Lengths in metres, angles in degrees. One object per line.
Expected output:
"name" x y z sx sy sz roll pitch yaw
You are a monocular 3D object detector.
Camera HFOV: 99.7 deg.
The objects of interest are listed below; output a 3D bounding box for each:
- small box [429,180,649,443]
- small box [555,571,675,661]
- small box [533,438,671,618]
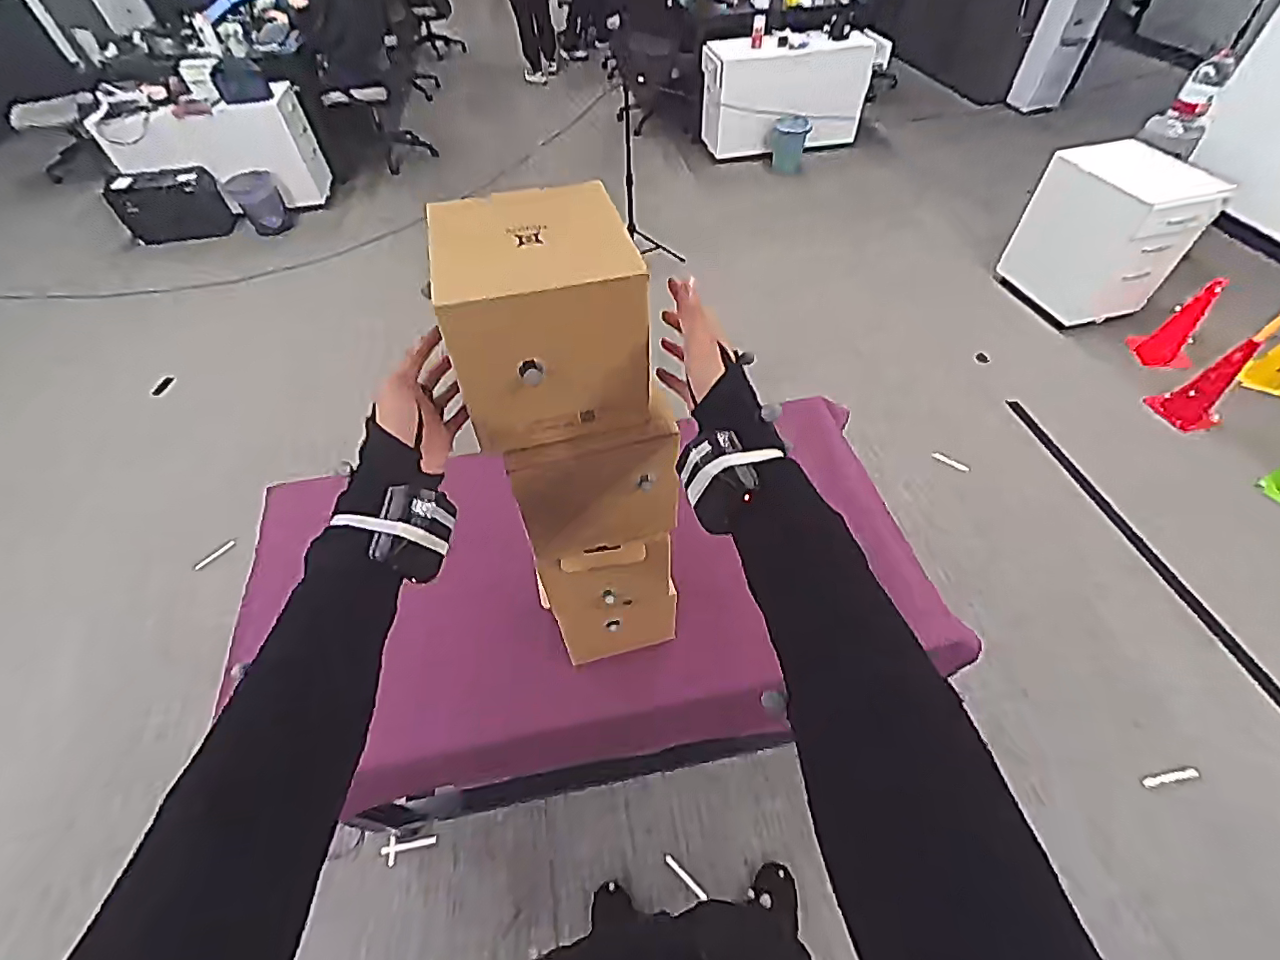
"small box" -0.090 -0.153 0.514 0.168 0.176 0.179 -13 51 -9
"small box" -0.047 0.175 0.881 0.179 0.176 0.168 -12 52 -8
"small box" -0.054 0.068 0.755 0.168 0.176 0.179 -8 51 -4
